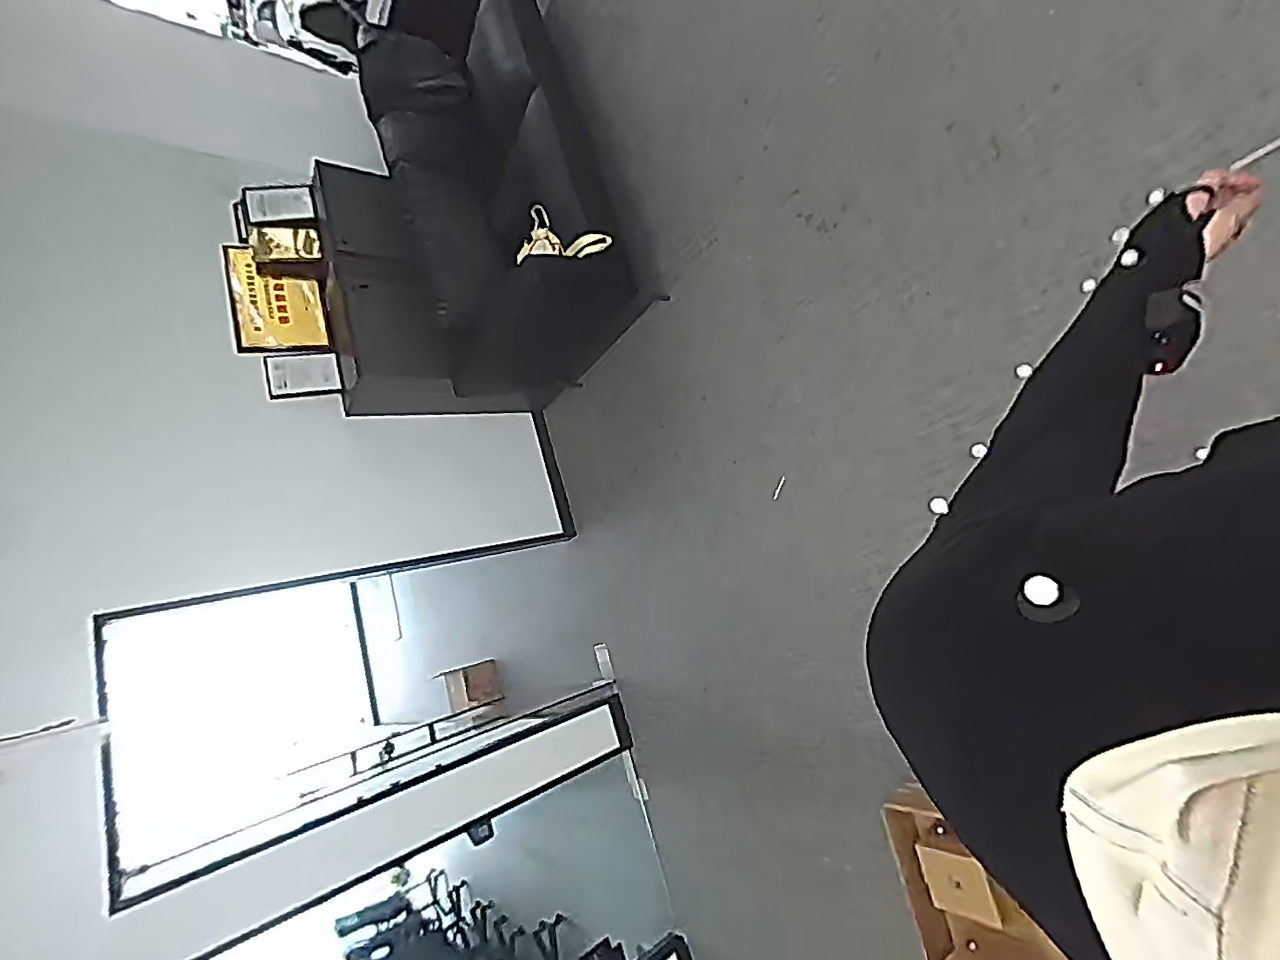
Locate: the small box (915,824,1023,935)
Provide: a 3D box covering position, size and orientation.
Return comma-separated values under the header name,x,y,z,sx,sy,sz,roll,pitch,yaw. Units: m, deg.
name,x,y,z,sx,sy,sz,roll,pitch,yaw
small box,0.890,1.068,1.464,0.179,0.176,0.168,-26,76,50
